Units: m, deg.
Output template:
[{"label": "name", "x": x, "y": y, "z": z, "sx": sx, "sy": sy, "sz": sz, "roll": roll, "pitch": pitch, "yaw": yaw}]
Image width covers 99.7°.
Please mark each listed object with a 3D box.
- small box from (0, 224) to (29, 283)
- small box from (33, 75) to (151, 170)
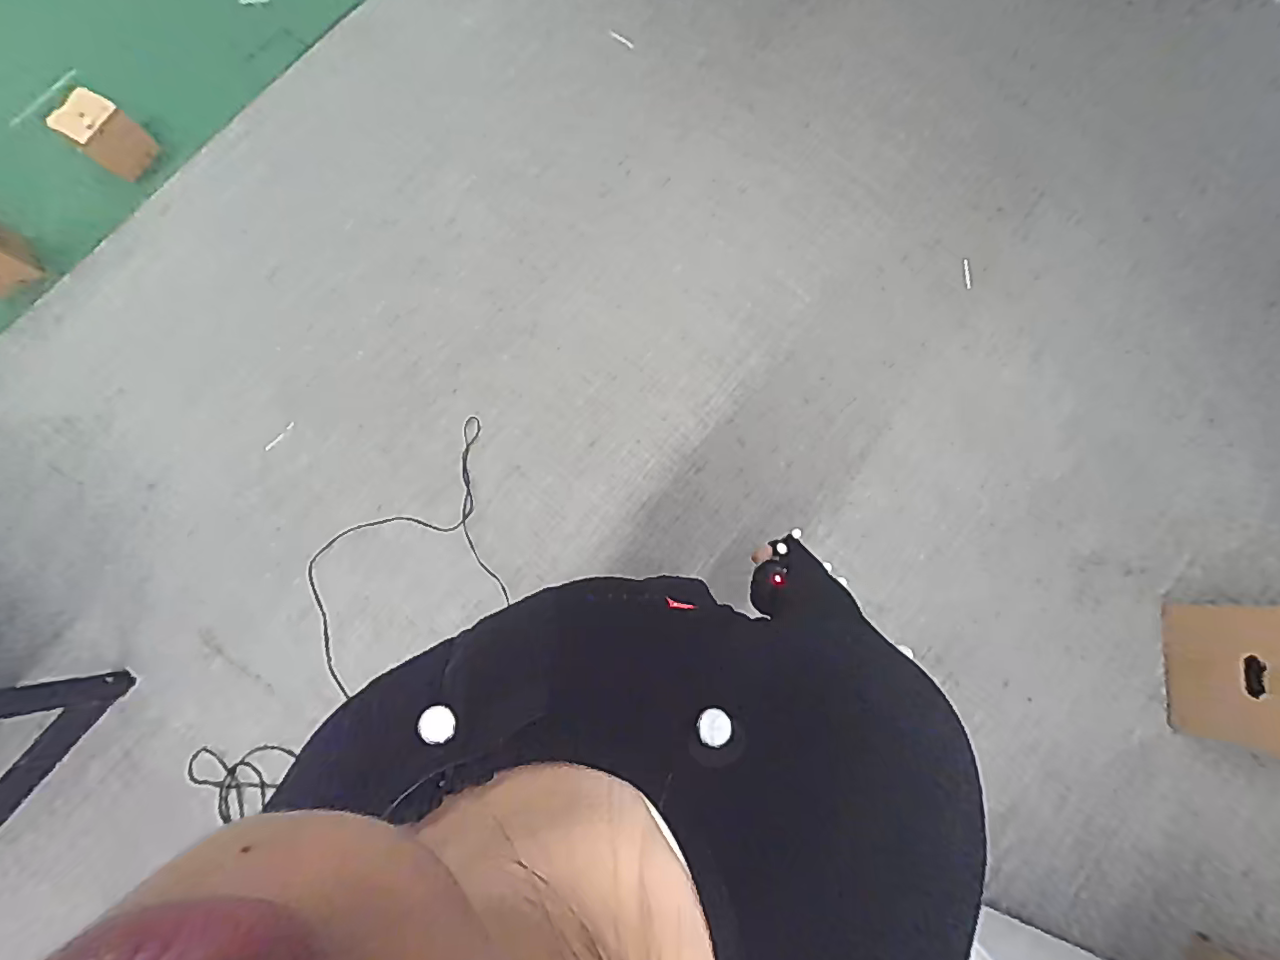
[{"label": "small box", "x": -2.102, "y": -0.737, "z": 1.697, "sx": 0.168, "sy": 0.176, "sz": 0.179, "roll": -34, "pitch": 79, "yaw": -5}, {"label": "small box", "x": -1.782, "y": -1.161, "z": 1.769, "sx": 0.179, "sy": 0.176, "sz": 0.168, "roll": 29, "pitch": 81, "yaw": 8}]
